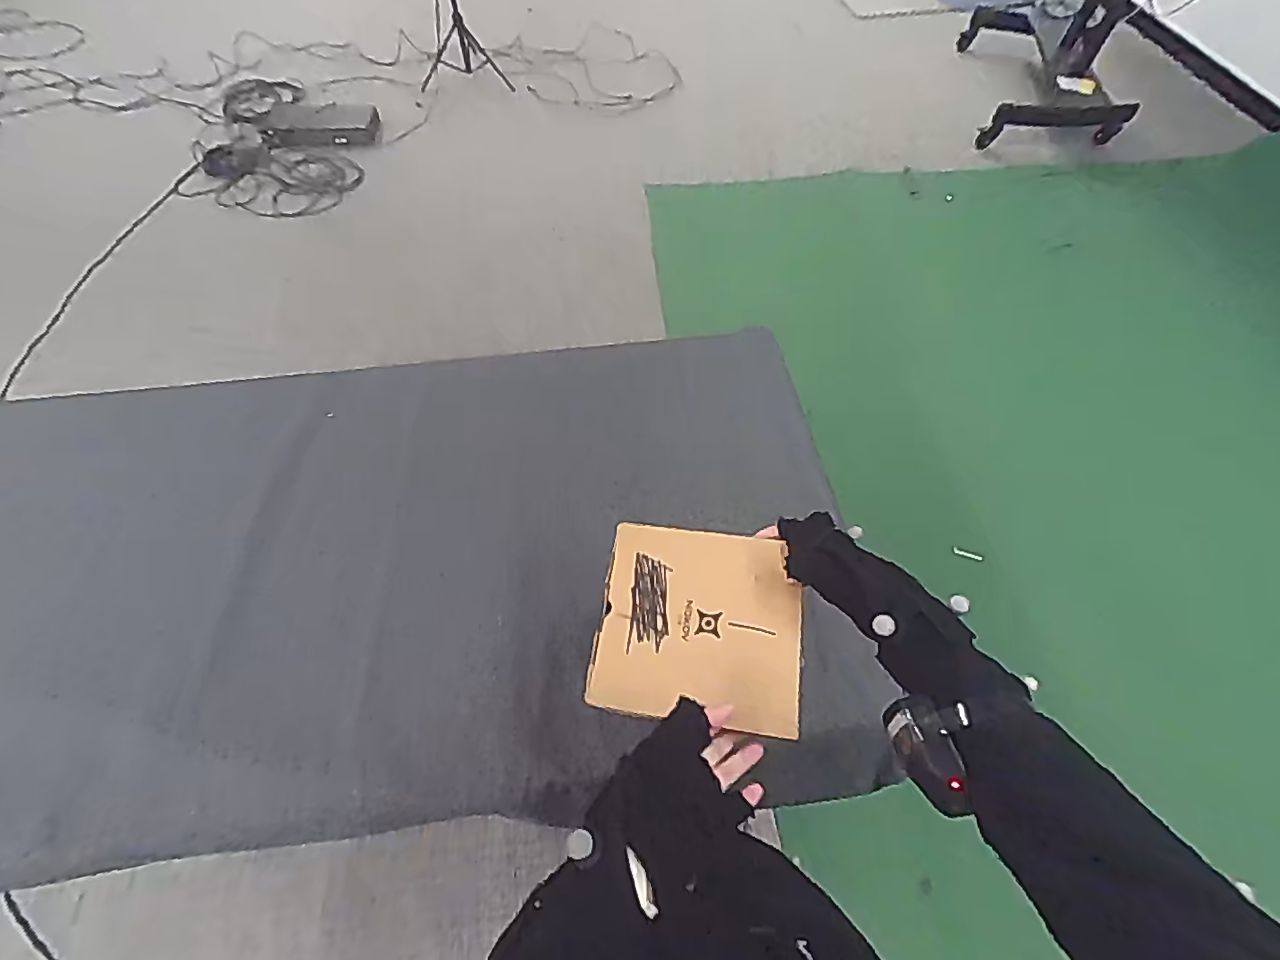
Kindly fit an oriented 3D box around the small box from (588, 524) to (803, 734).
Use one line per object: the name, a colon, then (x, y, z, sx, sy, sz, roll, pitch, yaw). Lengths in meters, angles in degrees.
small box: (0.061, 0.155, 0.544, 0.179, 0.176, 0.168, 4, 66, 9)
